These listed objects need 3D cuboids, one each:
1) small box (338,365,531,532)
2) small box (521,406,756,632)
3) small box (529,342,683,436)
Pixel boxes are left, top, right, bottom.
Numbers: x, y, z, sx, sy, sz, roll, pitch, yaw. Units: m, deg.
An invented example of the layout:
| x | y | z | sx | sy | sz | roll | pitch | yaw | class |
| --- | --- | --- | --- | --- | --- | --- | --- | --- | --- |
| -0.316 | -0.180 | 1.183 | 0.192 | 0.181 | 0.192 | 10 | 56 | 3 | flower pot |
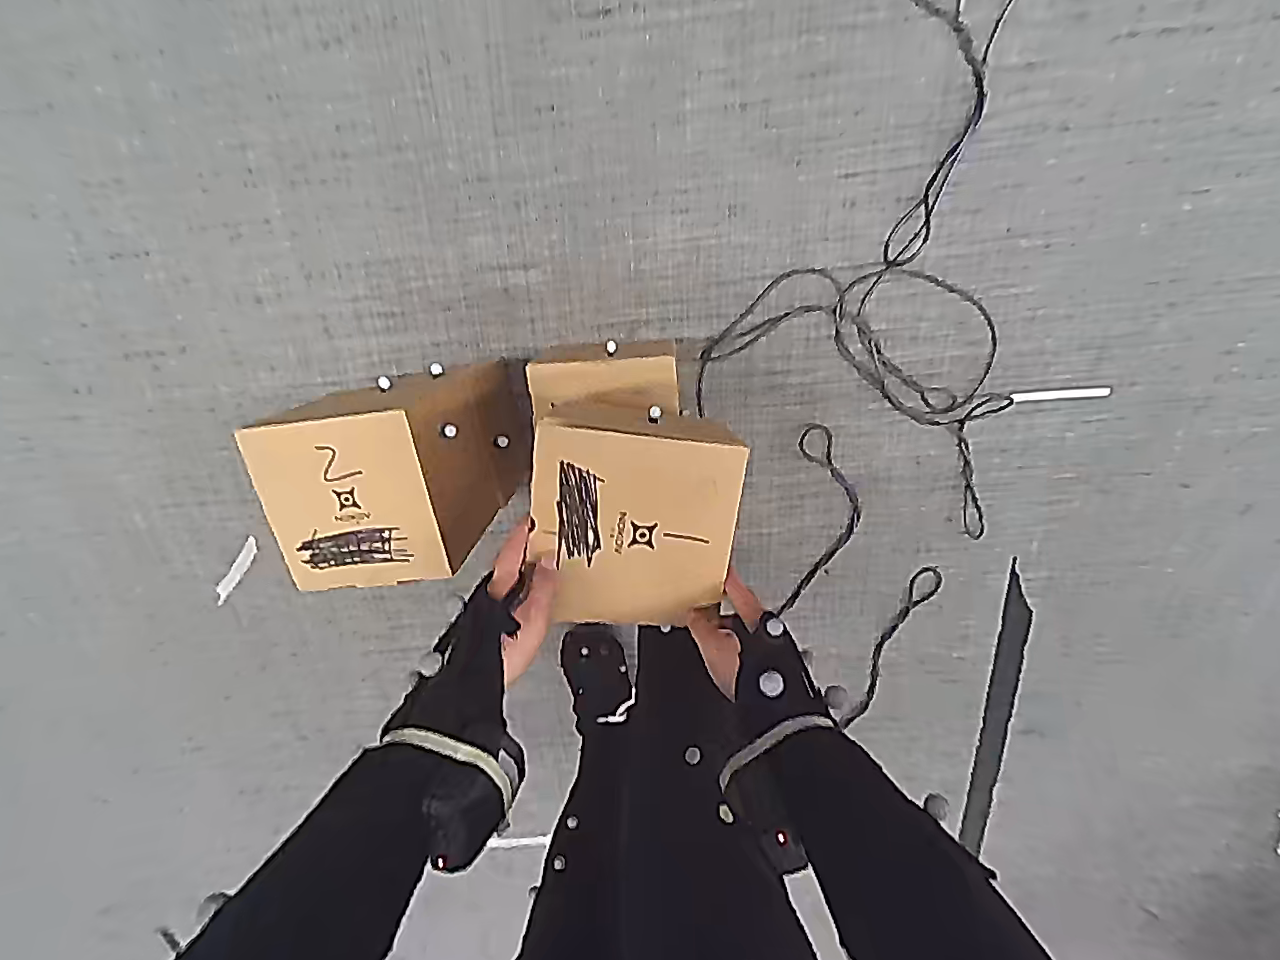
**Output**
| x | y | z | sx | sy | sz | roll | pitch | yaw | class |
| --- | --- | --- | --- | --- | --- | --- | --- | --- | --- |
| -0.263 | -0.054 | 0.738 | 0.168 | 0.176 | 0.179 | -11 | 110 | 6 | small box |
| -0.005 | 0.023 | 0.523 | 0.179 | 0.176 | 0.168 | 8 | 102 | -3 | small box |
| -0.033 | -0.086 | 0.712 | 0.179 | 0.176 | 0.168 | -2 | 110 | 4 | small box |
